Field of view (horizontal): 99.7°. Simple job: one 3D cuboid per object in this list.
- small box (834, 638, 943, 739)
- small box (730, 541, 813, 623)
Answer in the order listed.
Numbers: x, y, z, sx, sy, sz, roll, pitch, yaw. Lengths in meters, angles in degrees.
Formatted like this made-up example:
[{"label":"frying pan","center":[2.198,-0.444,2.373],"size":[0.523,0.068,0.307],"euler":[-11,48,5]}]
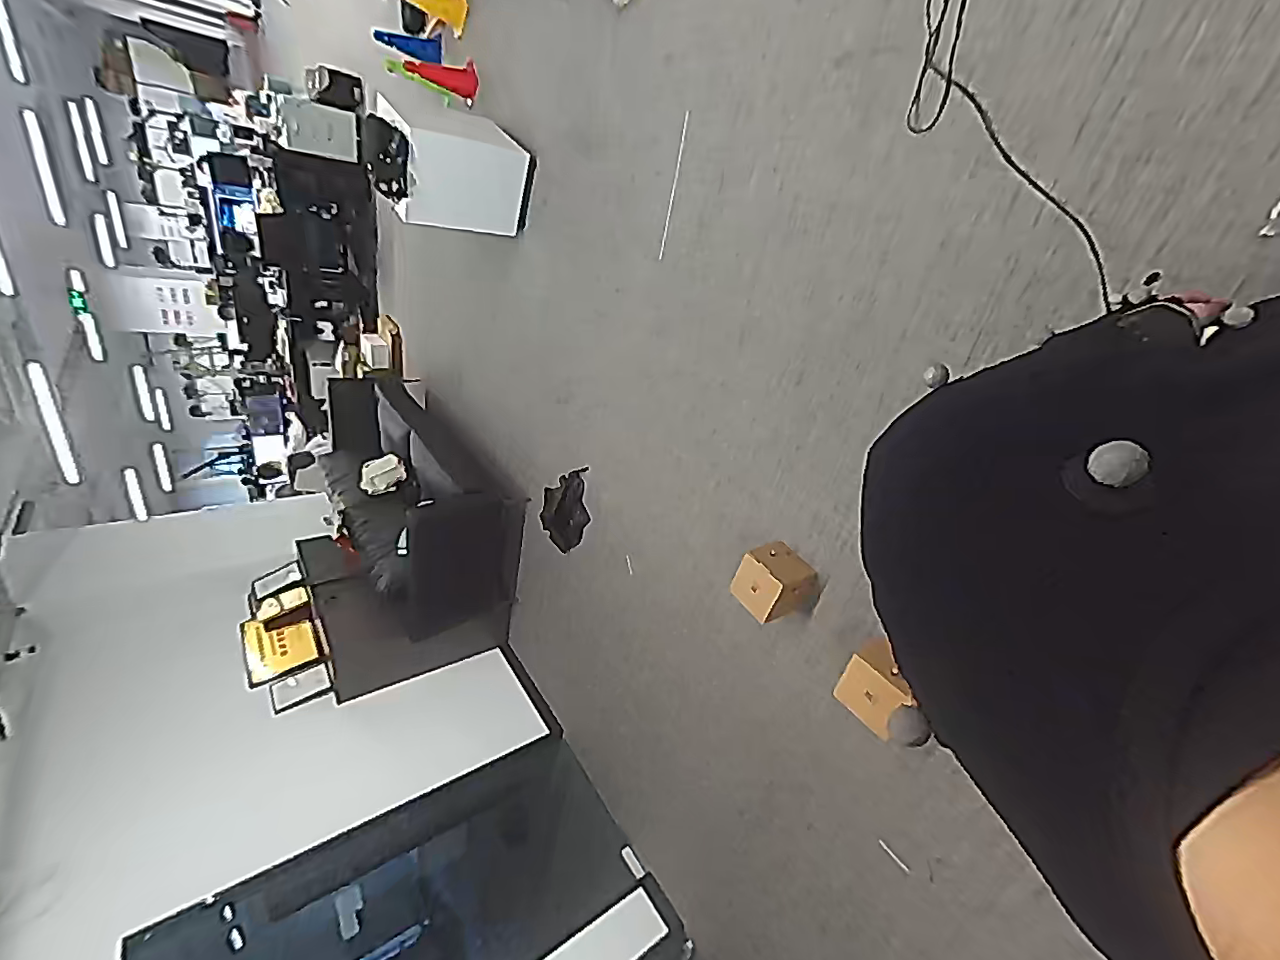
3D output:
[{"label":"small box","center":[0.669,0.549,1.458],"size":[0.179,0.176,0.168],"euler":[39,128,40]},{"label":"small box","center":[0.423,0.320,1.727],"size":[0.168,0.176,0.179],"euler":[45,133,39]}]
